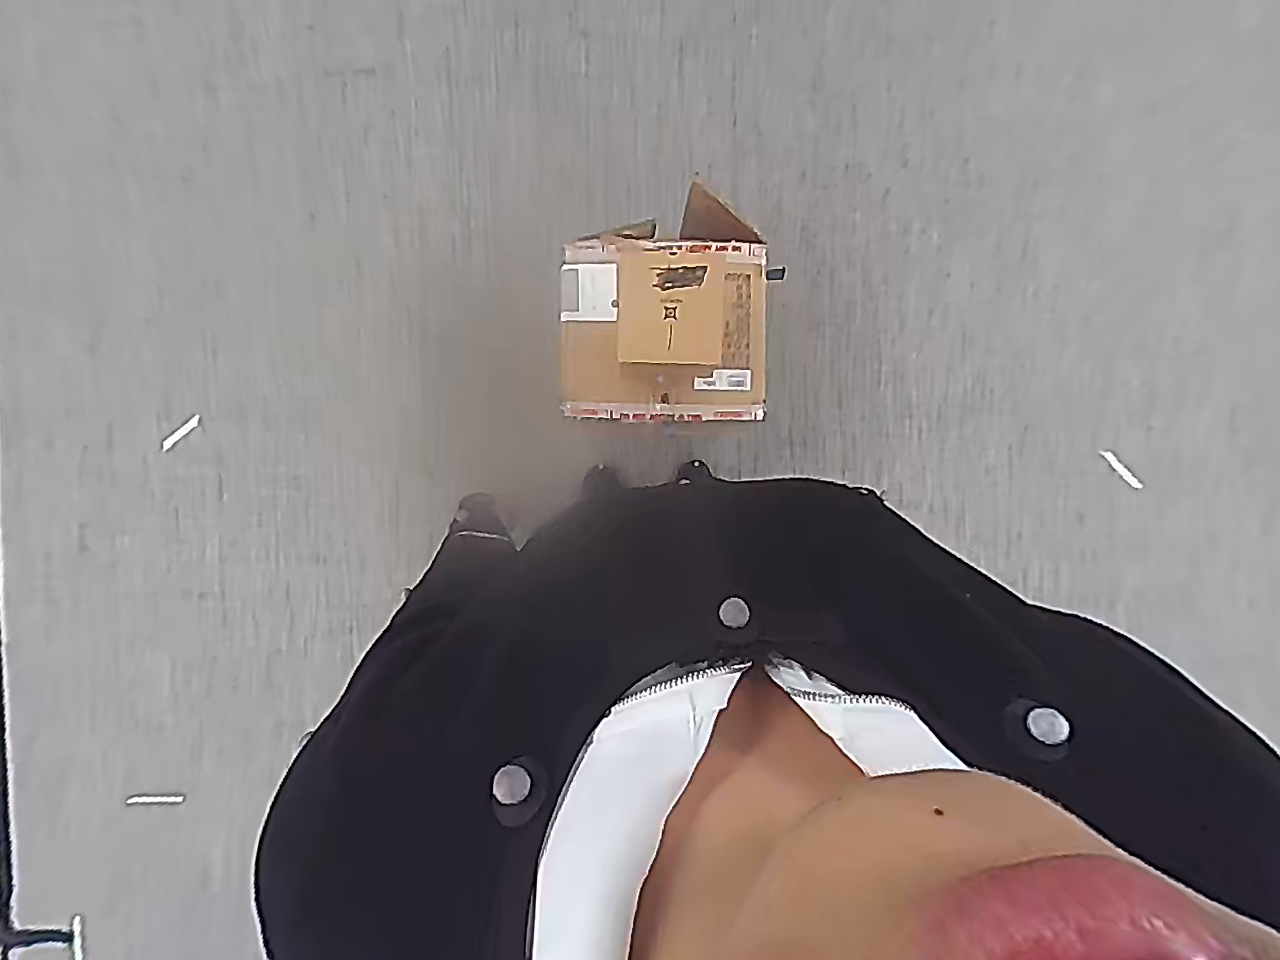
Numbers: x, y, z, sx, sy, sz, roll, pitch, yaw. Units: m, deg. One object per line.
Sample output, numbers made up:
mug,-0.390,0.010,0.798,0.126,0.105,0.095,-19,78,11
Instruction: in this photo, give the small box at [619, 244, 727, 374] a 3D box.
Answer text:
small box,0.049,-0.283,0.924,0.168,0.176,0.179,2,95,-1
